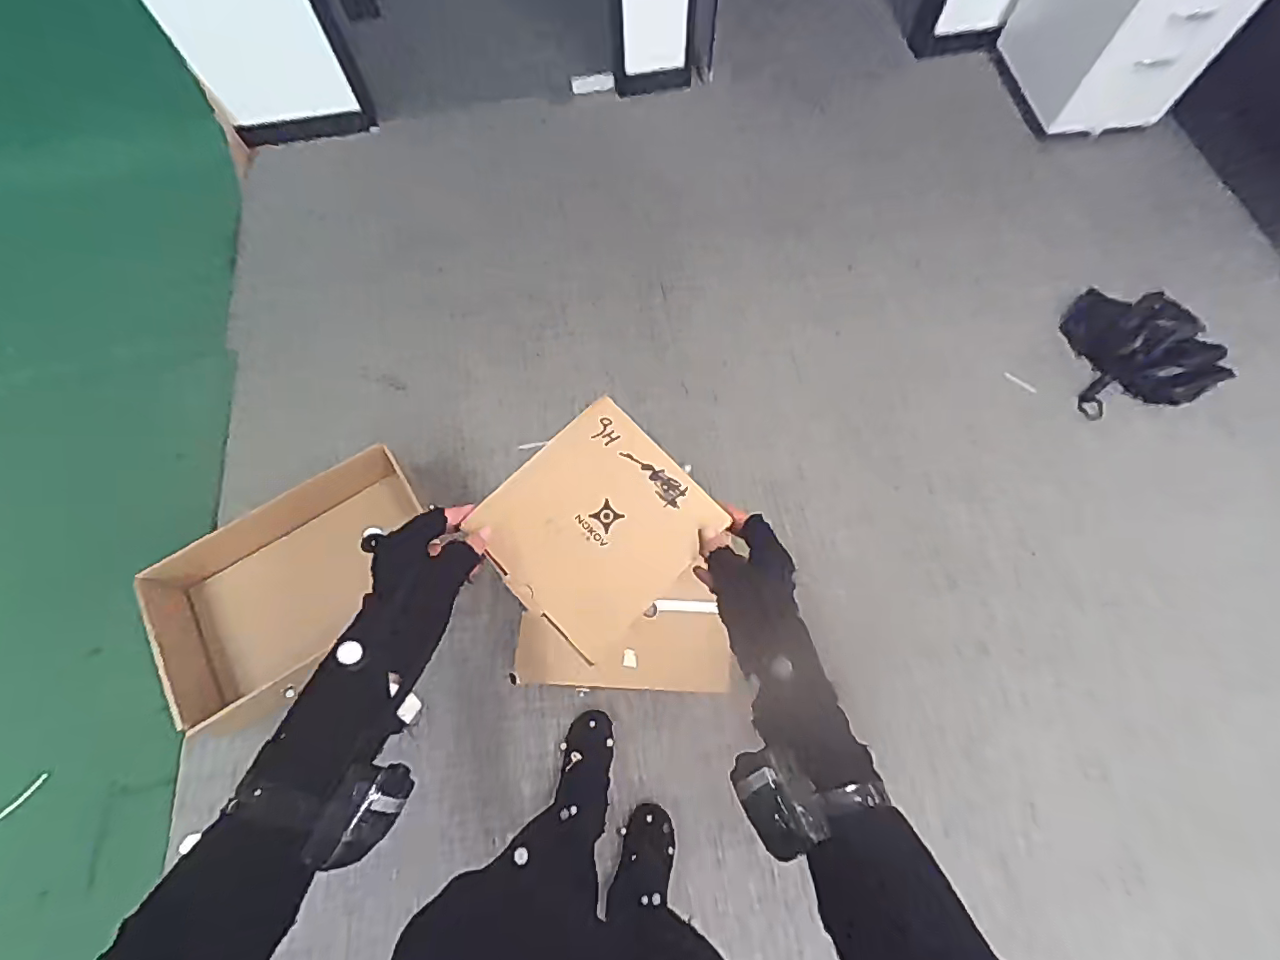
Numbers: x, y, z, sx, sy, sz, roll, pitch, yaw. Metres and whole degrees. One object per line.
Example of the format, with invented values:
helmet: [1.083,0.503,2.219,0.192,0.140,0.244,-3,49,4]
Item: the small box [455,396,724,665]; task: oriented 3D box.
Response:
small box: [-0.046,0.054,0.539,0.168,0.176,0.179,45,78,5]
